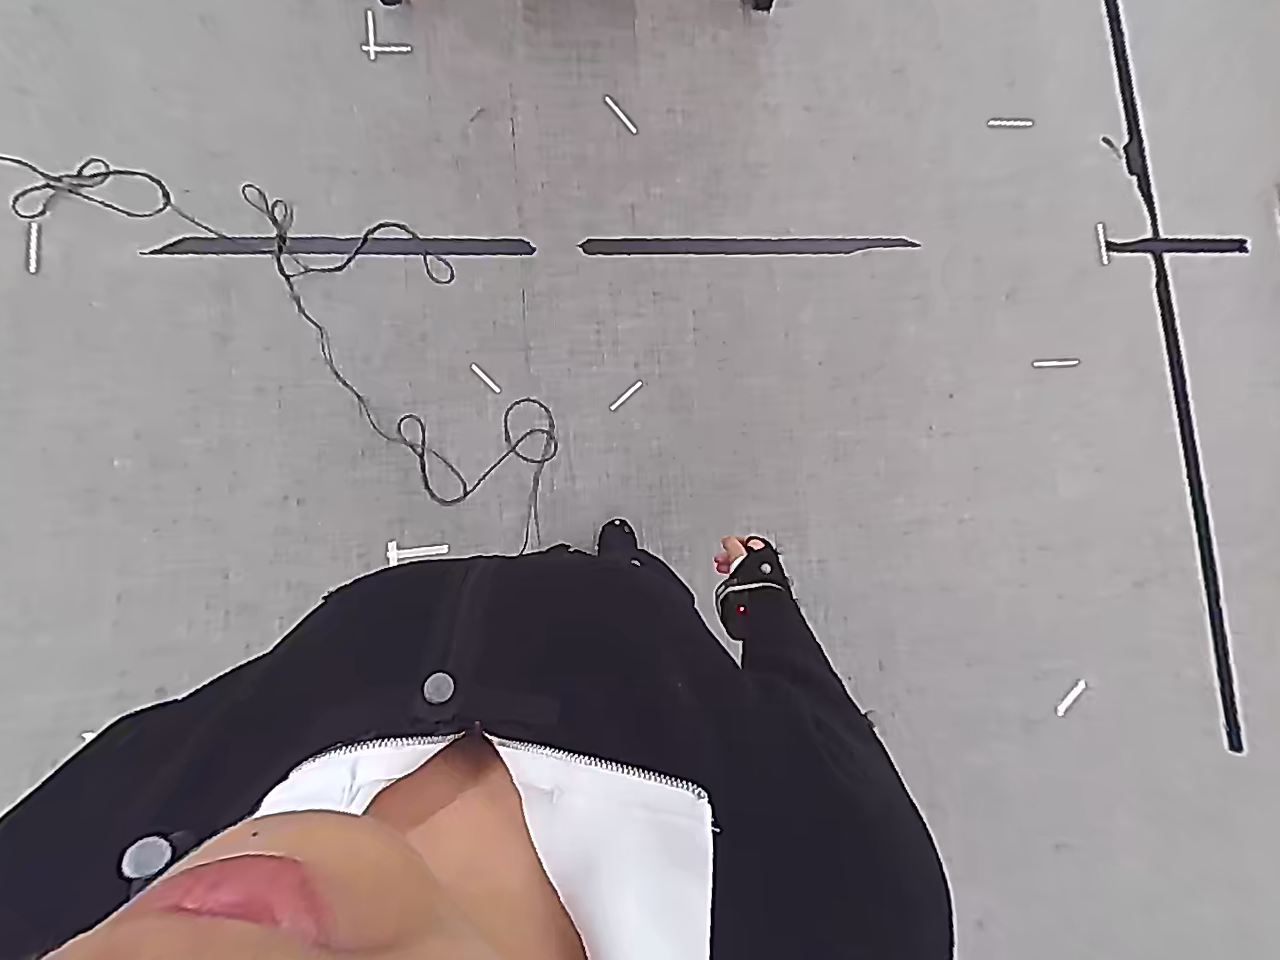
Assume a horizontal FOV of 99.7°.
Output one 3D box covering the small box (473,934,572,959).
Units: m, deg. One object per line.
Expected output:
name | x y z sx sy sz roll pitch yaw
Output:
small box | -0.192 0.875 0.855 0.168 0.176 0.179 -2 83 -4
